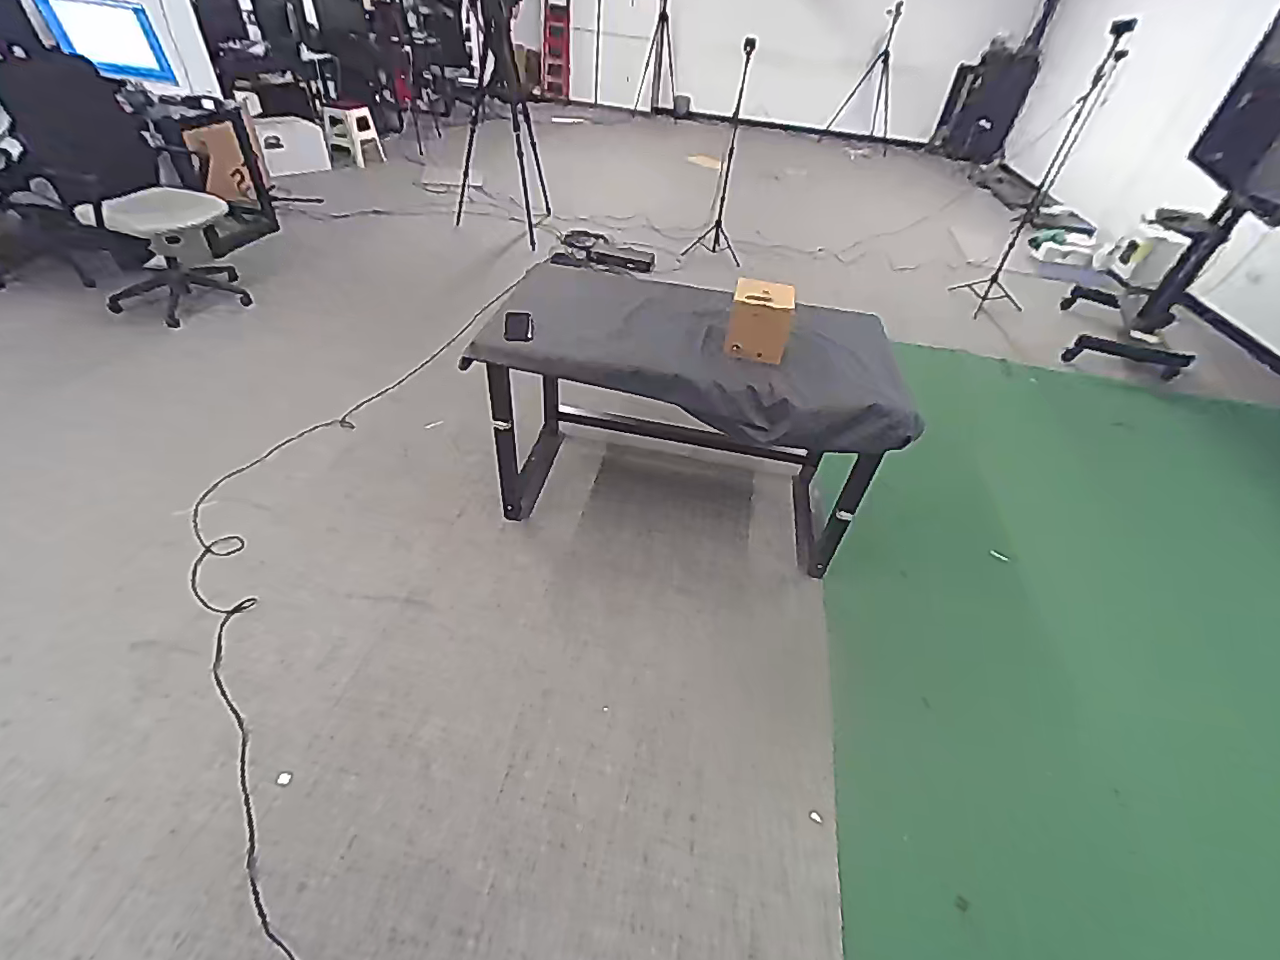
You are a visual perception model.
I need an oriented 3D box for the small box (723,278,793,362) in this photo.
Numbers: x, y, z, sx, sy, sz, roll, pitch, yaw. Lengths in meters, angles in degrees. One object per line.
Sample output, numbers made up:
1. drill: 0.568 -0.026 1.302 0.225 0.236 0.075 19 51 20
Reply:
1. small box: 0.341 -0.464 1.575 0.168 0.176 0.179 12 41 5
